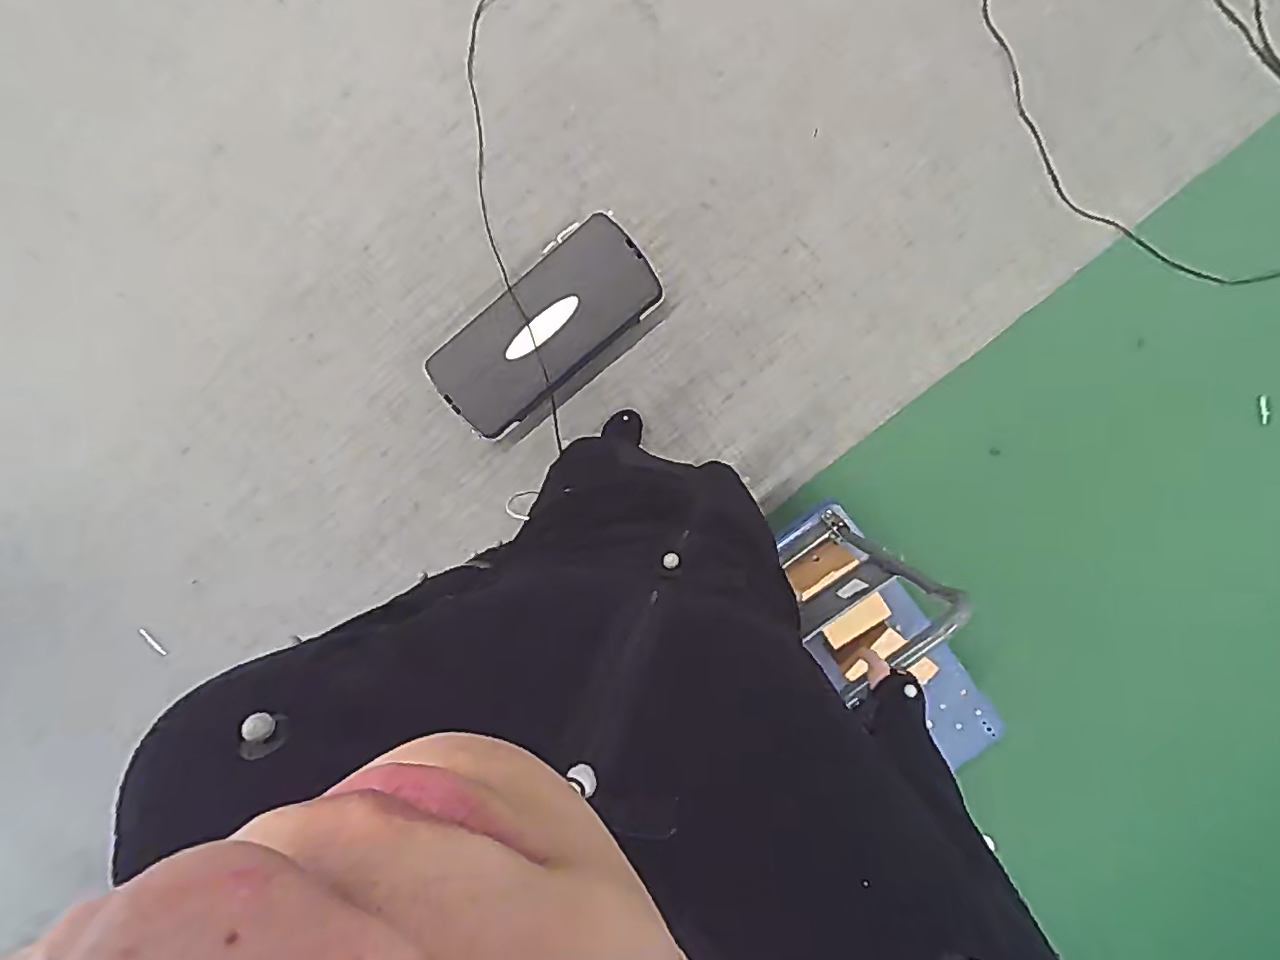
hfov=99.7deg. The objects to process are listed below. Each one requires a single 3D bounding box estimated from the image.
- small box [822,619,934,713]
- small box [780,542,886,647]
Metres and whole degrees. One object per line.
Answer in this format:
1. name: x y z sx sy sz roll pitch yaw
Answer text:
1. small box: 0.612 0.461 1.419 0.179 0.176 0.168 39 96 -7
2. small box: 0.488 0.287 1.391 0.168 0.176 0.179 -34 98 5
